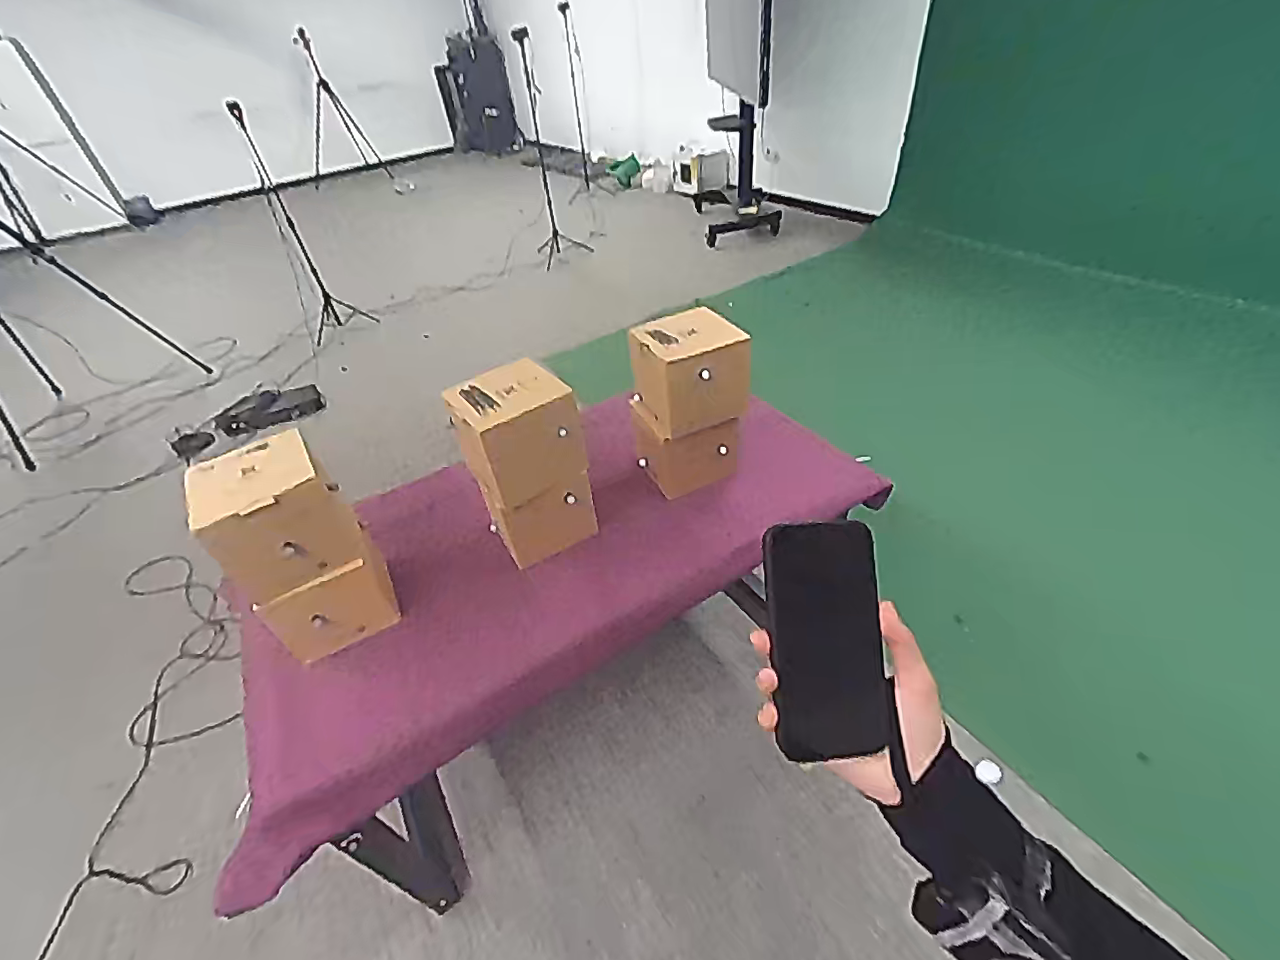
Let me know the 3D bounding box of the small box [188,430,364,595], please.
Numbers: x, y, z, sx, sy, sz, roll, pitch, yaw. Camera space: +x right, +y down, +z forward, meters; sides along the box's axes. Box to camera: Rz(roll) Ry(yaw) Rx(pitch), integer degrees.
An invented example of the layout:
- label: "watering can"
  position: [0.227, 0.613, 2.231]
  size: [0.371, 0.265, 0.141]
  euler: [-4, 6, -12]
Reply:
- label: "small box"
  position: [-0.565, 0.056, 0.852]
  size: [0.168, 0.176, 0.179]
  euler: [-29, 45, -23]

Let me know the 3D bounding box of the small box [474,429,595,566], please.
- label: "small box"
  position: [-0.199, 0.033, 1.065]
  size: [0.179, 0.176, 0.168]
  euler: [-26, 44, -19]

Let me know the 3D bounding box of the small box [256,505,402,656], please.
- label: "small box"
  position: [-0.542, 0.183, 0.953]
  size: [0.168, 0.176, 0.179]
  euler: [-25, 43, -19]

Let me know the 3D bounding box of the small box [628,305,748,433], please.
- label: "small box"
  position: [0.095, -0.216, 1.054]
  size: [0.179, 0.176, 0.168]
  euler: [-21, 42, -15]

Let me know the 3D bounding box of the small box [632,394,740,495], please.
- label: "small box"
  position: [0.098, -0.098, 1.168]
  size: [0.179, 0.176, 0.168]
  euler: [-21, 42, -14]
